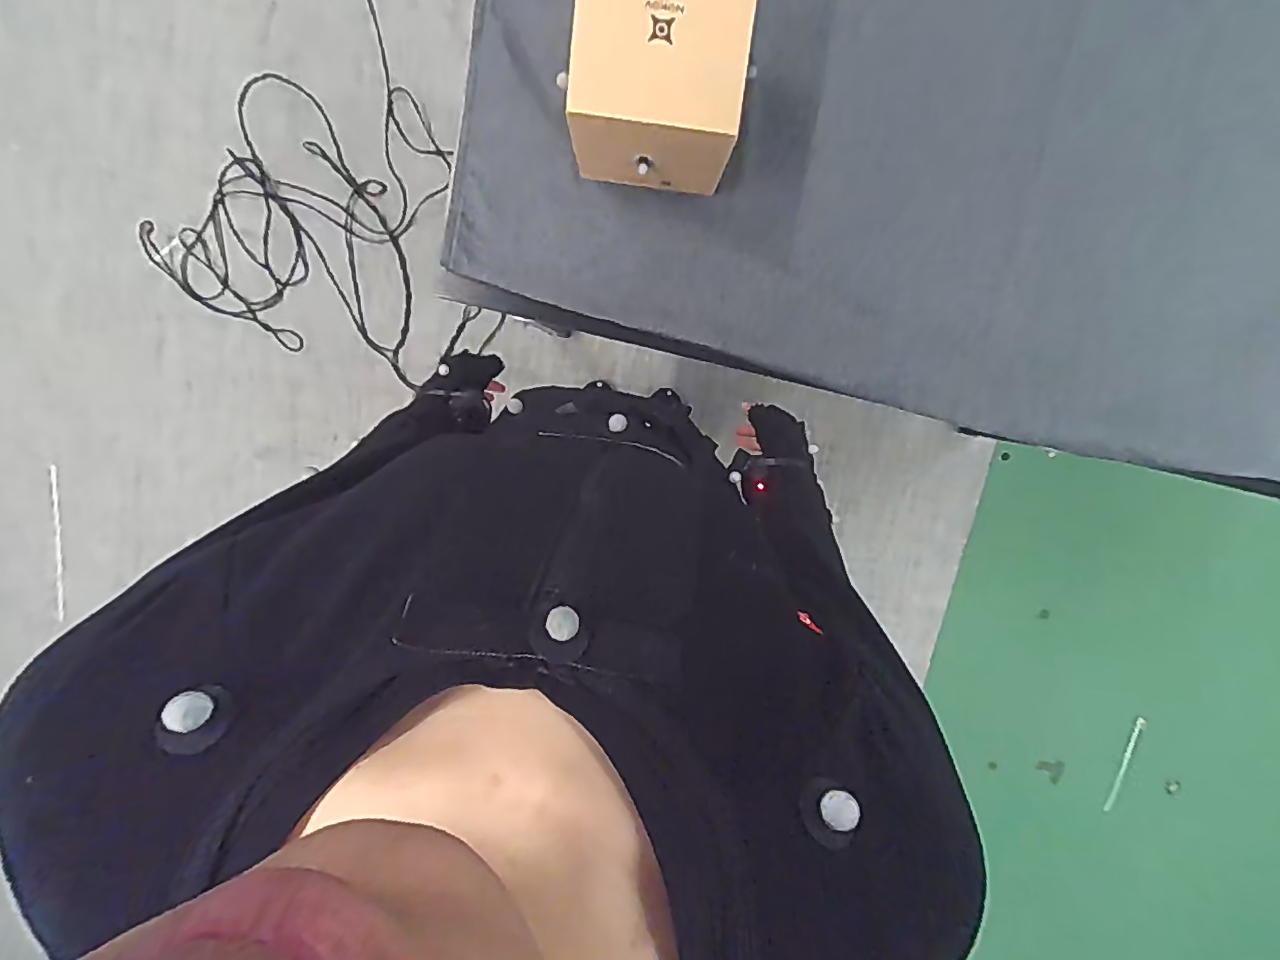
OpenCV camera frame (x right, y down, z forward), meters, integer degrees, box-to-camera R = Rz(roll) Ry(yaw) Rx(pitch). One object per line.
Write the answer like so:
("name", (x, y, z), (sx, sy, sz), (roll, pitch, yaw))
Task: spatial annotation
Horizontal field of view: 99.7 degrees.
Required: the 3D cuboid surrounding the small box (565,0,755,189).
("small box", (0.020, -0.433, 0.571), (0.168, 0.176, 0.179), (7, 100, -2))
